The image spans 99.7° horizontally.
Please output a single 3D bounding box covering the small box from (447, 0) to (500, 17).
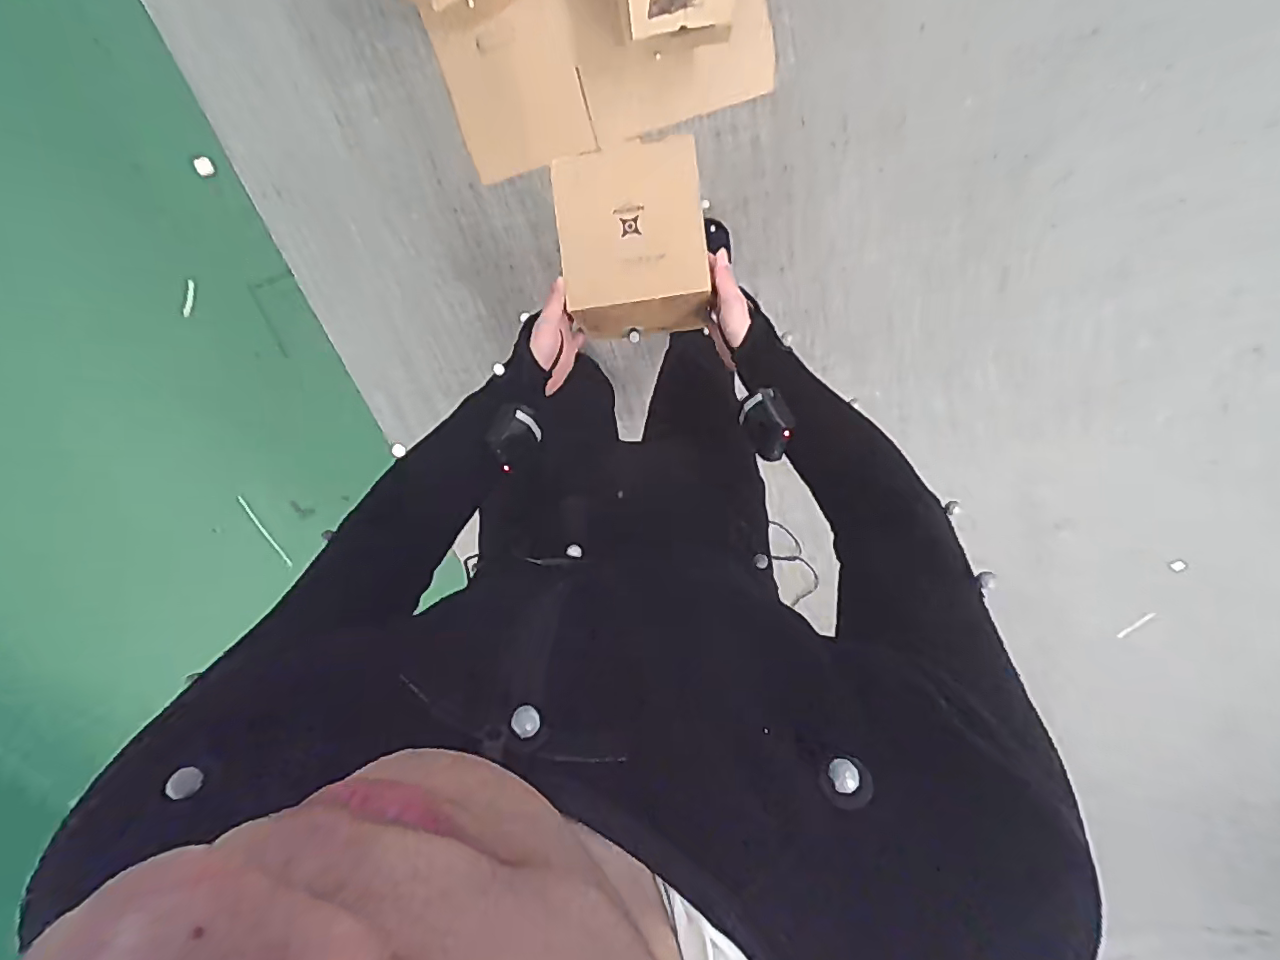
[{"bbox_3d":[-0.321,-1.001,0.986,0.168,0.176,0.179,-17,118,16],"label":"small box"}]

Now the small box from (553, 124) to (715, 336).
[{"bbox_3d":[-0.001,-0.295,0.673,0.168,0.176,0.179,-7,91,6],"label":"small box"}]

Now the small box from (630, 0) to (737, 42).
[{"bbox_3d":[0.069,-0.822,0.858,0.168,0.176,0.179,-3,120,8],"label":"small box"}]

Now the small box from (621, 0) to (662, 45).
[{"bbox_3d":[0.049,-0.927,0.990,0.168,0.176,0.179,-6,120,10],"label":"small box"}]
